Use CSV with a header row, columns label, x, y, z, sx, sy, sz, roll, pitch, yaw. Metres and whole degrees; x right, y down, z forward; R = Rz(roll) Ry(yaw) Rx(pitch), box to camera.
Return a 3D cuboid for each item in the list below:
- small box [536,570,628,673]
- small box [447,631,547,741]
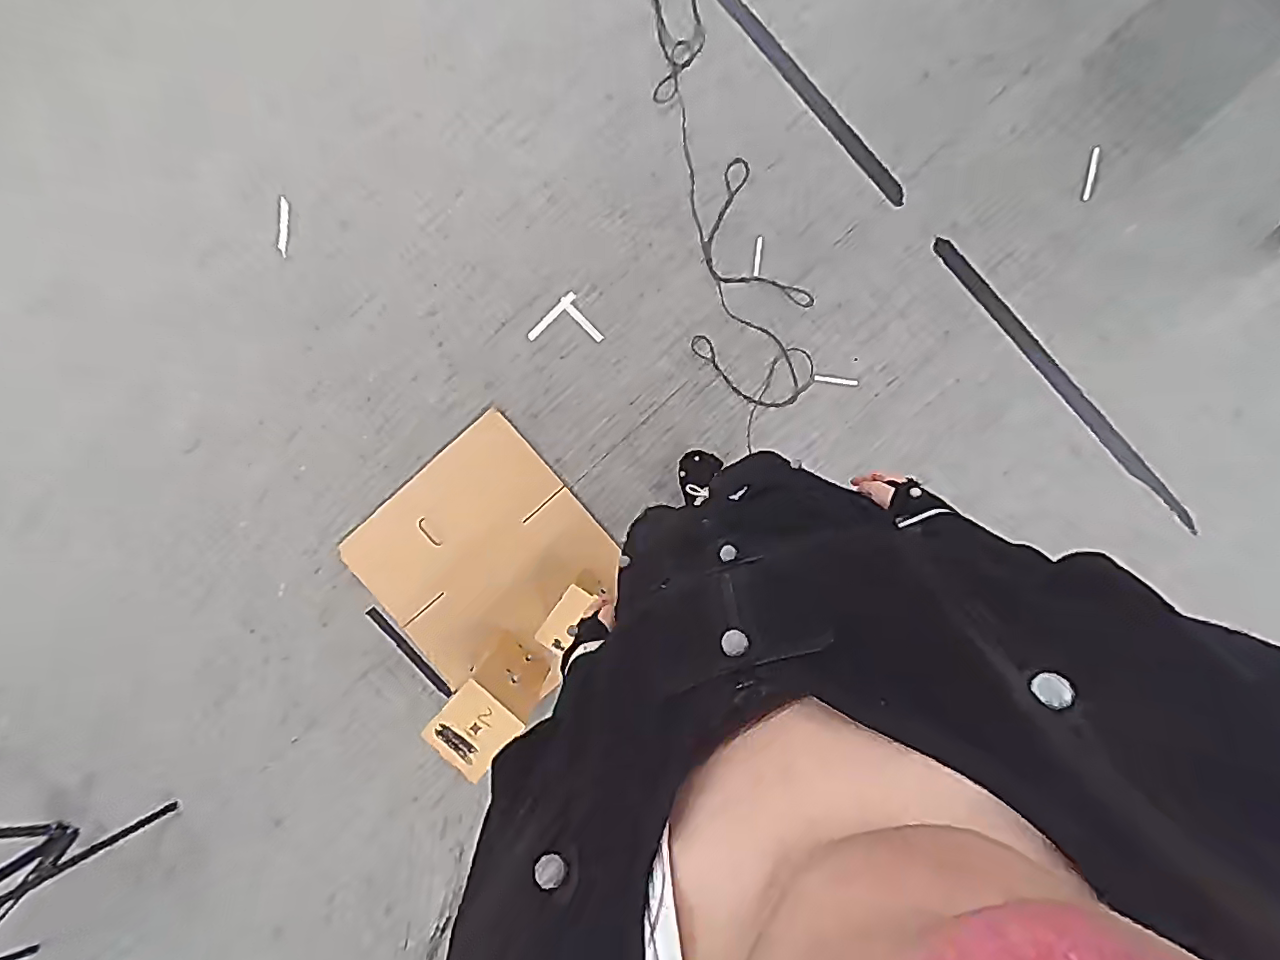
label,x,y,z,sx,sy,sz,roll,pitch,yaw
small box,-0.145,0.357,1.406,0.168,0.176,0.179,35,91,0
small box,-0.364,0.532,1.419,0.168,0.176,0.179,39,92,-1
